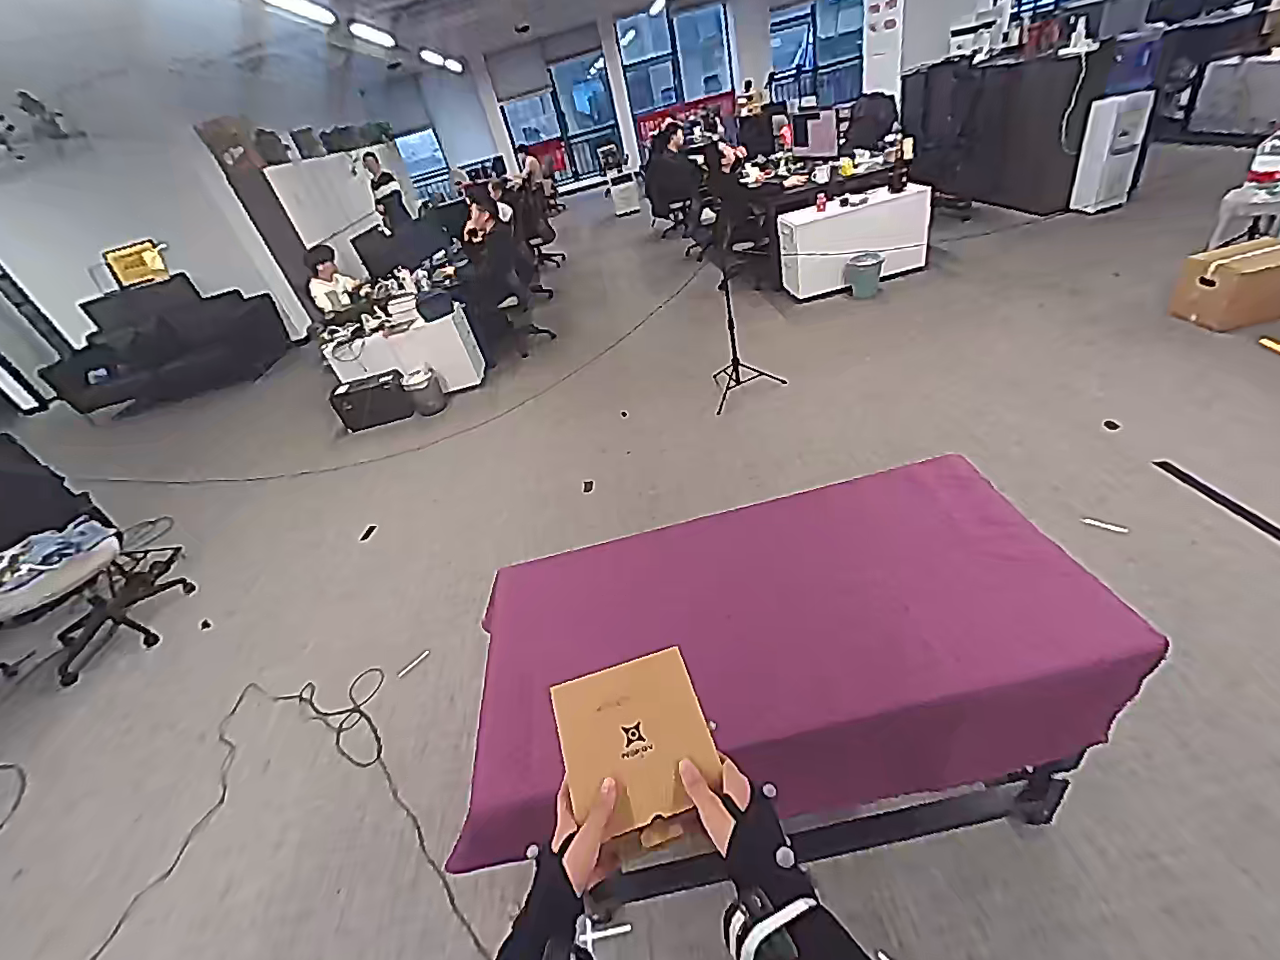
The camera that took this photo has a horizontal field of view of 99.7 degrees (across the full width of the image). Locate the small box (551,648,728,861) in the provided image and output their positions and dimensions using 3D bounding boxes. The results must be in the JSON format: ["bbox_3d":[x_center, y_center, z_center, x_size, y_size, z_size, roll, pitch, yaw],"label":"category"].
[{"bbox_3d":[0.000,0.341,0.663,0.168,0.176,0.179,-15,48,-8],"label":"small box"}]
